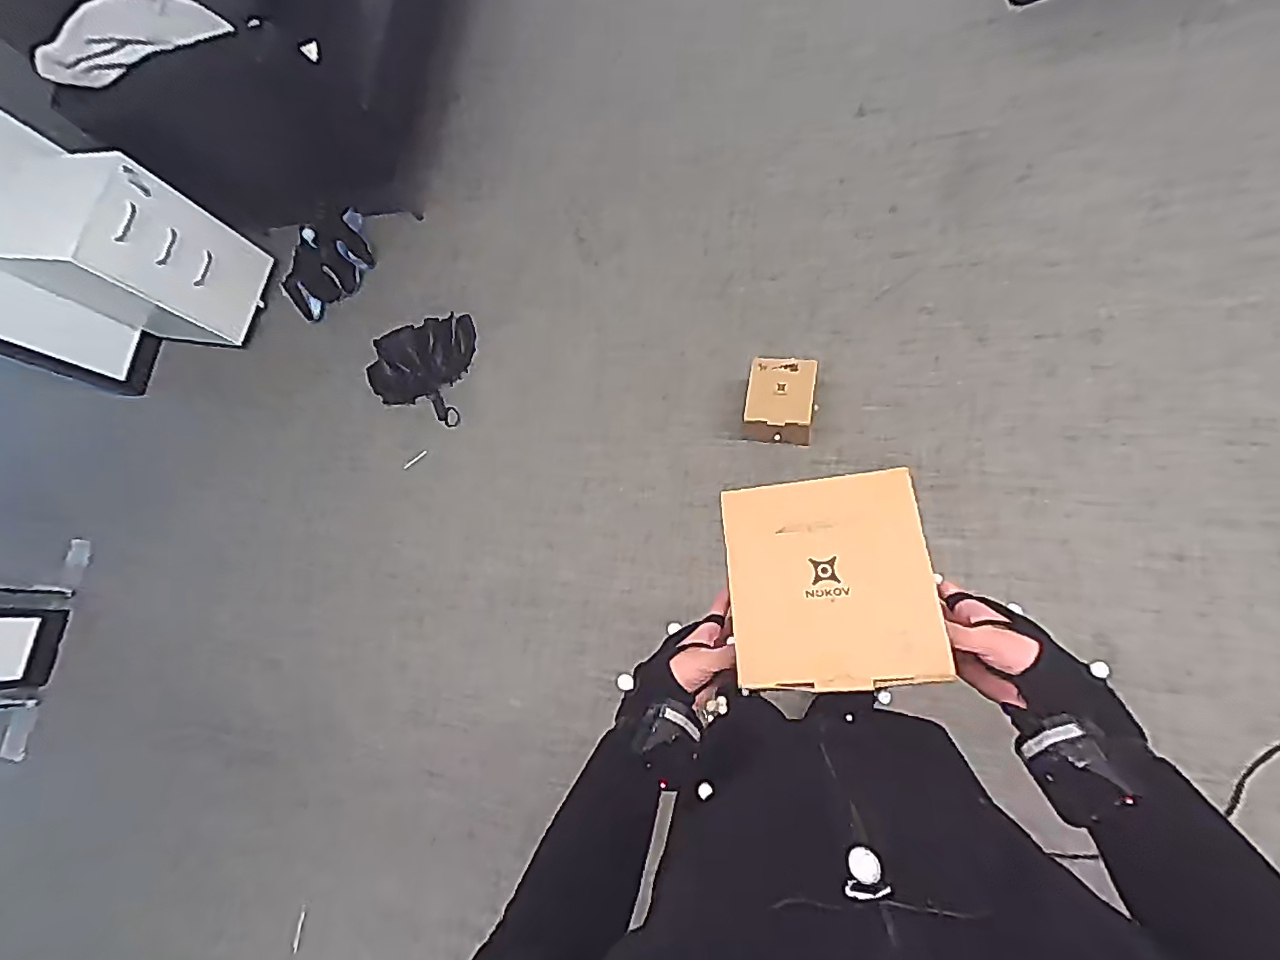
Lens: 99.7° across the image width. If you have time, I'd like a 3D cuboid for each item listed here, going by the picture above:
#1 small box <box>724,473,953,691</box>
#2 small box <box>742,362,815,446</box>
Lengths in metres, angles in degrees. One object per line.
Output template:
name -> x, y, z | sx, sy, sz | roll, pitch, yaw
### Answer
small box -> 0.182, 0.112, 0.535 | 0.168, 0.176, 0.179 | -8, 66, 13
small box -> 0.378, -0.200, 1.454 | 0.168, 0.176, 0.179 | 6, 78, 18
